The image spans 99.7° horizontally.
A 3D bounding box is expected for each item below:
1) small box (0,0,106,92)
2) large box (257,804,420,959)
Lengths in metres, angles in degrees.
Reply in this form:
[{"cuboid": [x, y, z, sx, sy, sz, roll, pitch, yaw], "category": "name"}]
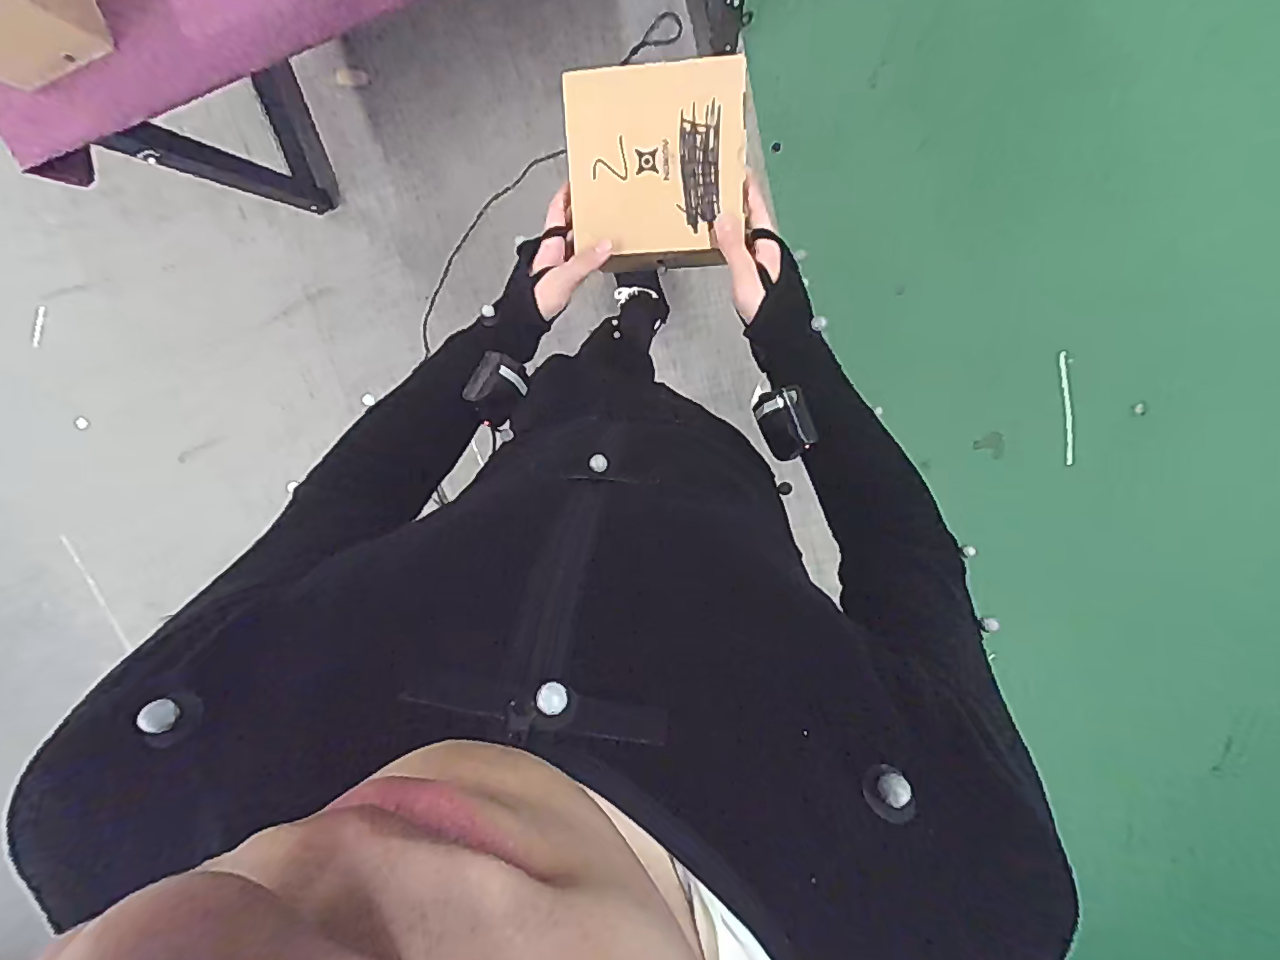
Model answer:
[{"cuboid": [-0.847, -0.636, 0.672, 0.168, 0.176, 0.179, -16, 102, 9], "category": "small box"}, {"cuboid": [-1.085, 1.465, 1.971, 0.408, 0.320, 0.320, 17, 107, -1], "category": "large box"}]
